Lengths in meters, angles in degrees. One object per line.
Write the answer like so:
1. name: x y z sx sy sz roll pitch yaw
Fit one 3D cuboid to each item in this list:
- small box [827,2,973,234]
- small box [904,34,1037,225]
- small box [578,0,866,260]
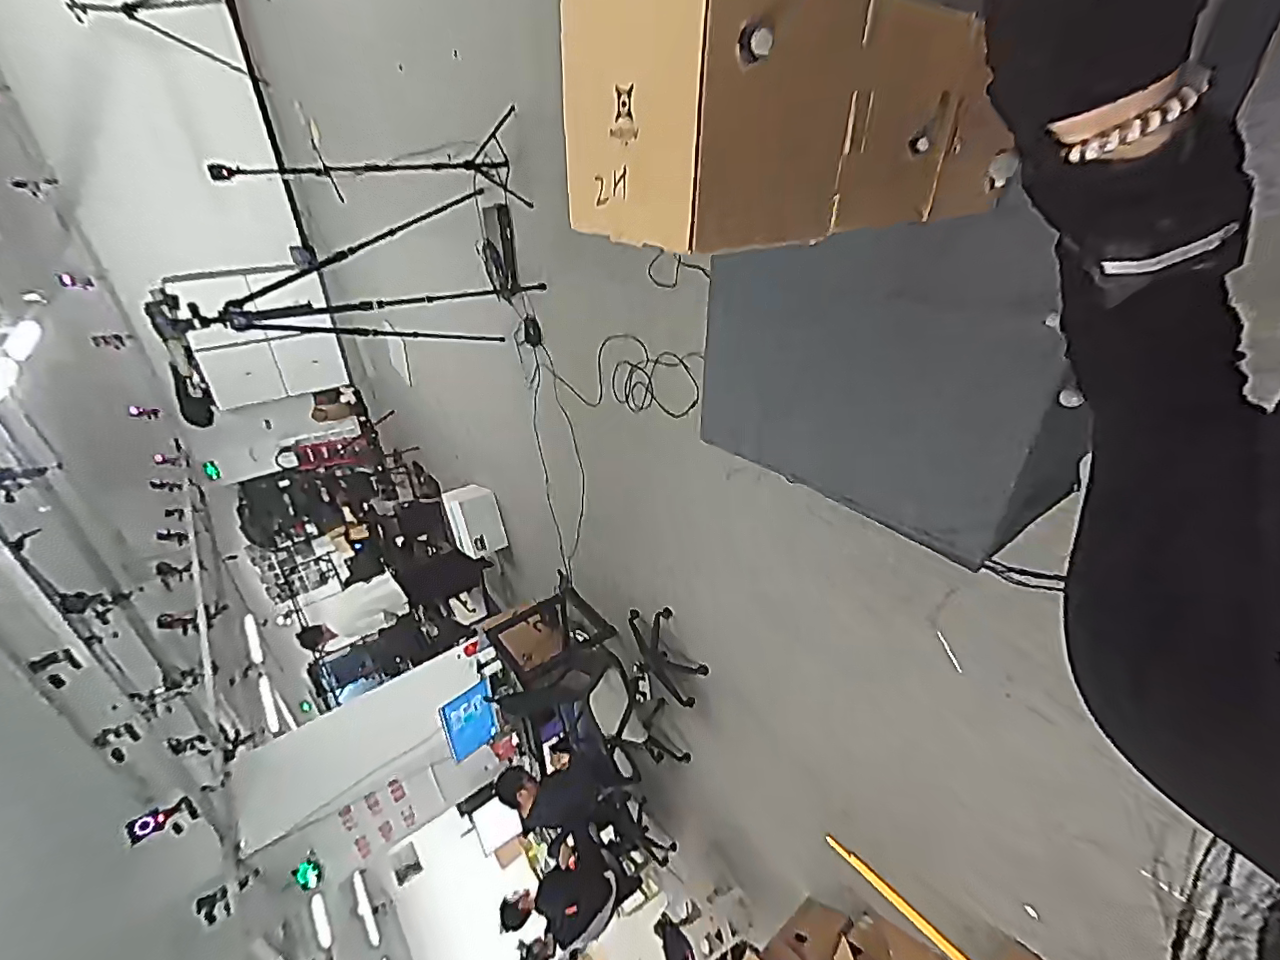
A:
1. small box: 0.192 -0.353 0.550 0.179 0.176 0.168 33 134 43
2. small box: 0.320 -0.404 0.636 0.179 0.176 0.168 34 135 44
3. small box: 0.063 -0.300 0.461 0.168 0.176 0.179 35 136 42
